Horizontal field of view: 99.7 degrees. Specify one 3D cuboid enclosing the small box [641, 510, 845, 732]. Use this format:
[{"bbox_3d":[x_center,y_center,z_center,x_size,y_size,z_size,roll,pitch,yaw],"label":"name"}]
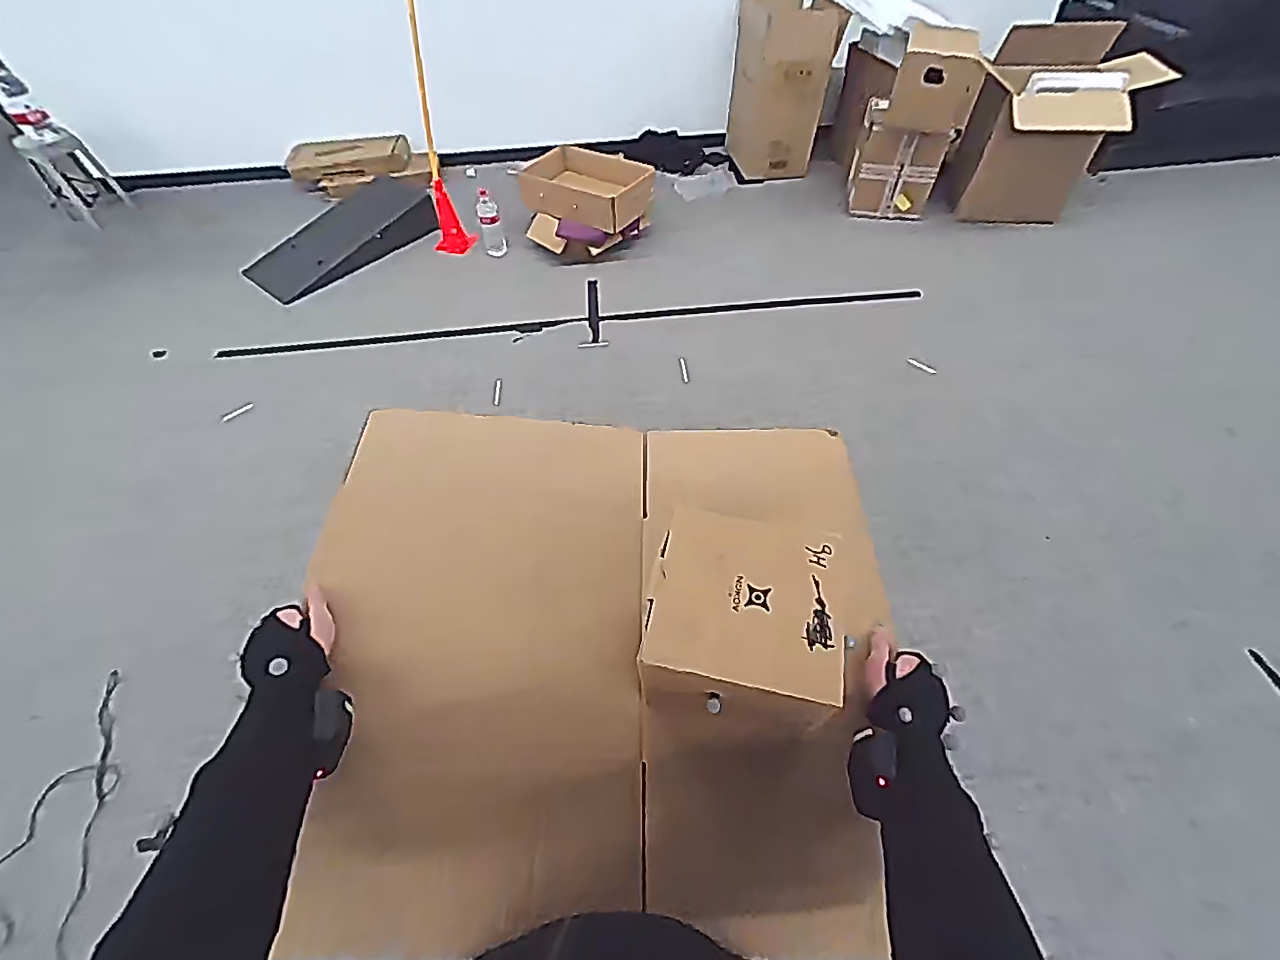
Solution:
[{"bbox_3d":[0.109,0.155,0.577,0.179,0.176,0.168,9,57,11],"label":"small box"}]
